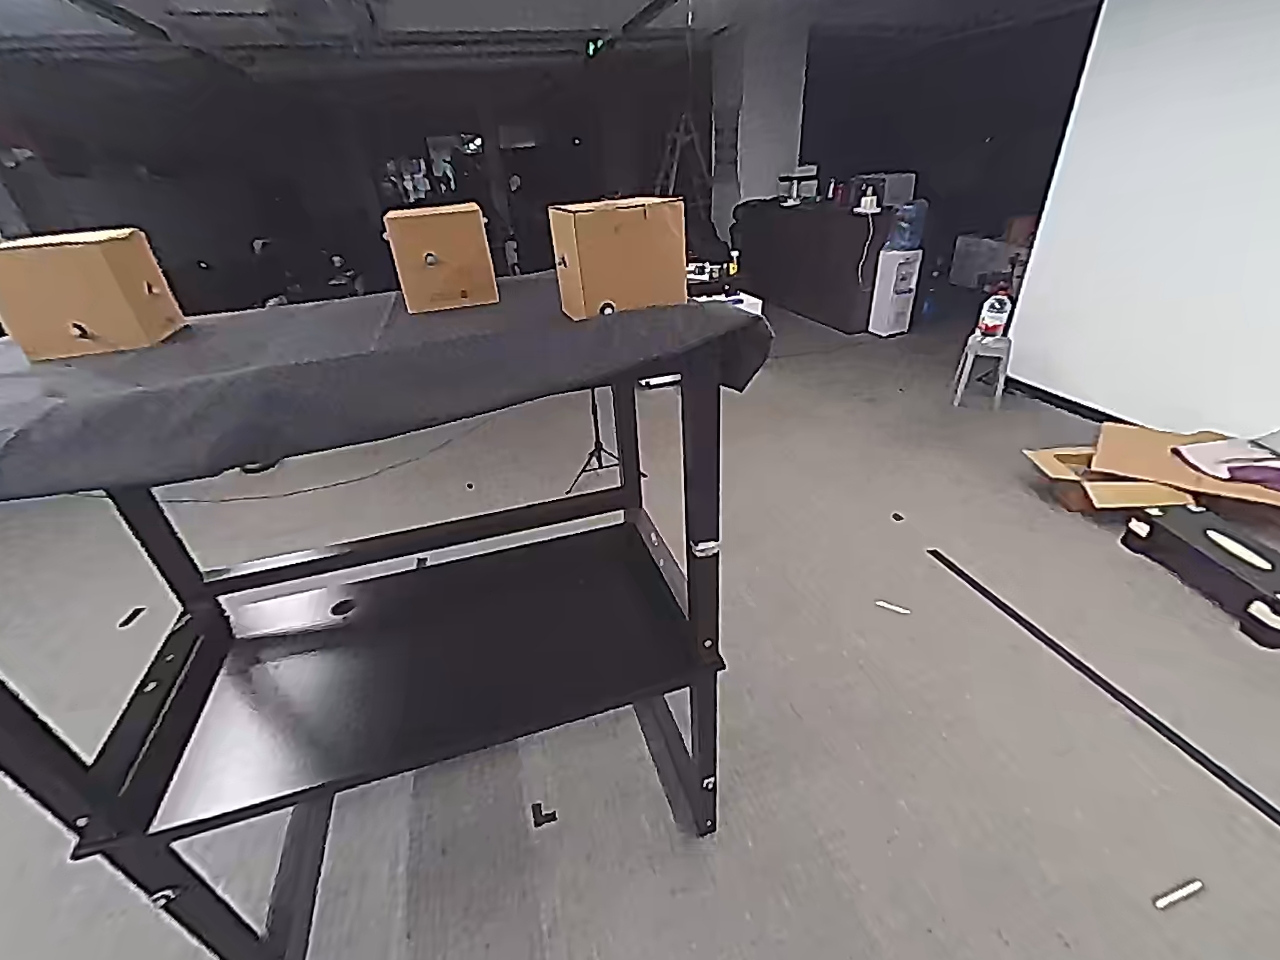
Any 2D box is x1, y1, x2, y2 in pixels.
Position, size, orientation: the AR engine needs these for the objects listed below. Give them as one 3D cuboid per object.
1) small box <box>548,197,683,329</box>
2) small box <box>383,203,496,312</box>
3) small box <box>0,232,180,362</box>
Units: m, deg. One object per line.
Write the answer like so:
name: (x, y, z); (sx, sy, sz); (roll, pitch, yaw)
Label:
small box: (-0.038, -0.345, 0.859); (0.168, 0.176, 0.179); (-14, 31, -15)
small box: (-0.382, -0.430, 1.048); (0.168, 0.176, 0.179); (-13, 32, -14)
small box: (-0.928, -0.309, 0.905); (0.179, 0.176, 0.168); (-12, 32, -16)
